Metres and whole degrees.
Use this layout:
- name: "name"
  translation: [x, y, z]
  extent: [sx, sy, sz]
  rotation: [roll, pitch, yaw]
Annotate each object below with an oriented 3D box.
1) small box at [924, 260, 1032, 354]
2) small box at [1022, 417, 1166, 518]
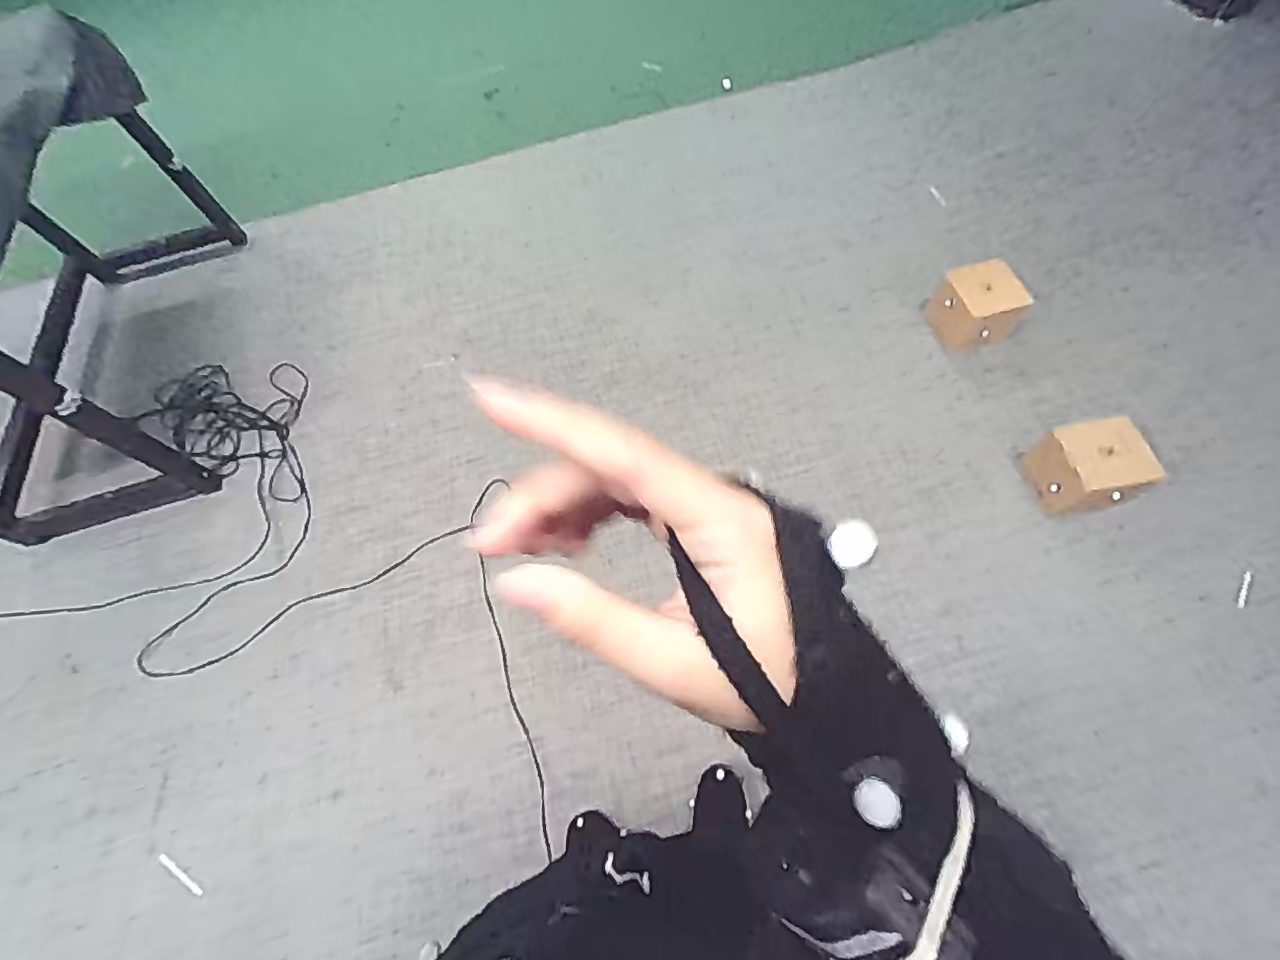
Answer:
- name: "small box"
  translation: [0.936, -0.475, 1.516]
  extent: [0.168, 0.176, 0.179]
  rotation: [-14, 62, 0]
- name: "small box"
  translation: [1.050, -0.024, 1.276]
  extent: [0.179, 0.176, 0.168]
  rotation: [-10, 64, 0]
